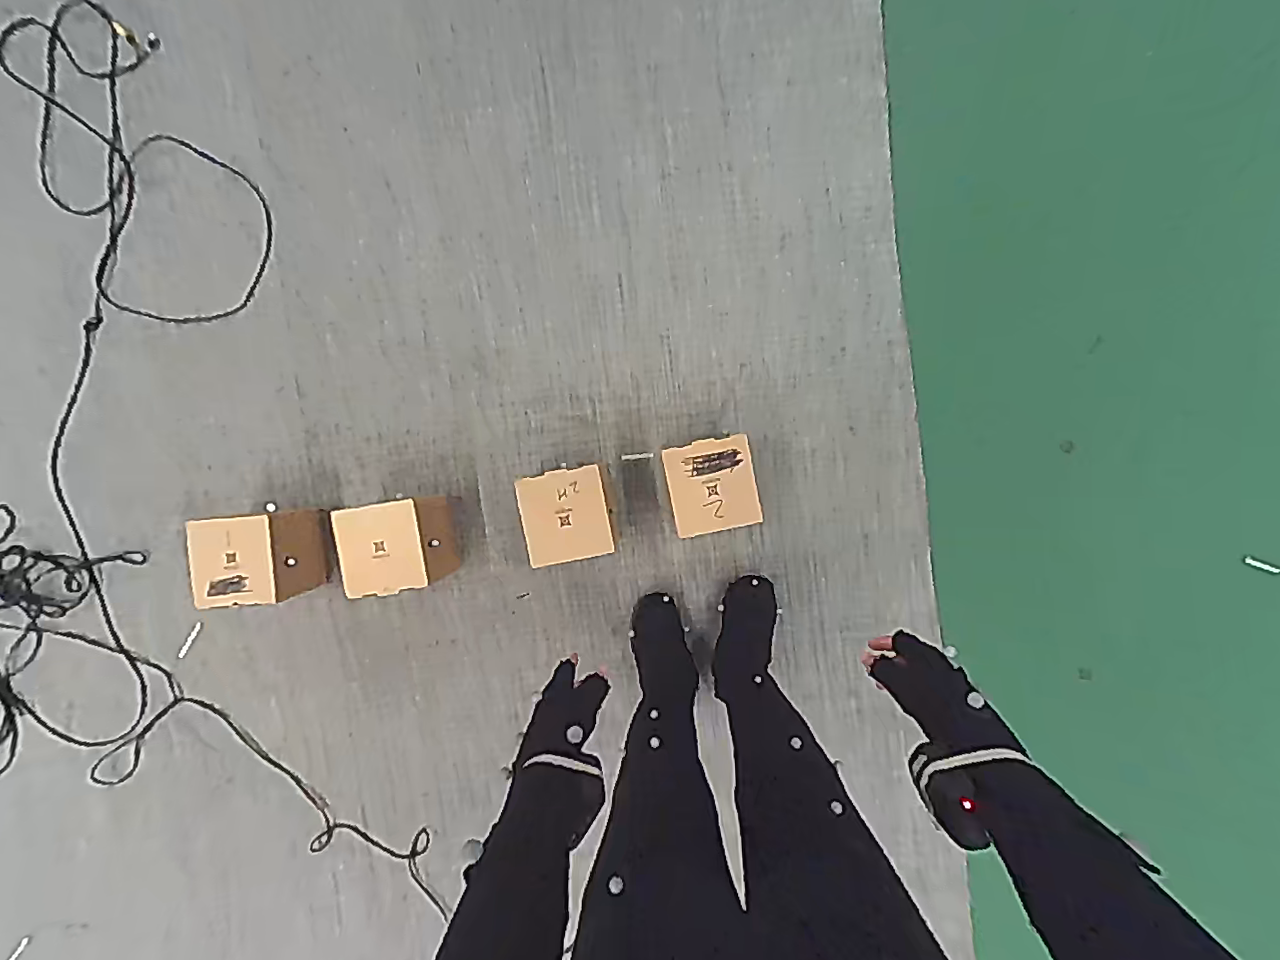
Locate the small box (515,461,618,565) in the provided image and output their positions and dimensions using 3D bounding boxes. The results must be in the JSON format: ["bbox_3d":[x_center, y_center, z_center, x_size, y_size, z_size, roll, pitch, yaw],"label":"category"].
[{"bbox_3d":[-0.143,0.061,1.115,0.168,0.176,0.179,-11,93,1],"label":"small box"}]

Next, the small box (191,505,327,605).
[{"bbox_3d":[-0.786,0.150,1.134,0.168,0.176,0.179,-4,92,2],"label":"small box"}]

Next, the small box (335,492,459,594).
[{"bbox_3d":[-0.497,0.123,1.127,0.168,0.176,0.179,-9,93,2],"label":"small box"}]
